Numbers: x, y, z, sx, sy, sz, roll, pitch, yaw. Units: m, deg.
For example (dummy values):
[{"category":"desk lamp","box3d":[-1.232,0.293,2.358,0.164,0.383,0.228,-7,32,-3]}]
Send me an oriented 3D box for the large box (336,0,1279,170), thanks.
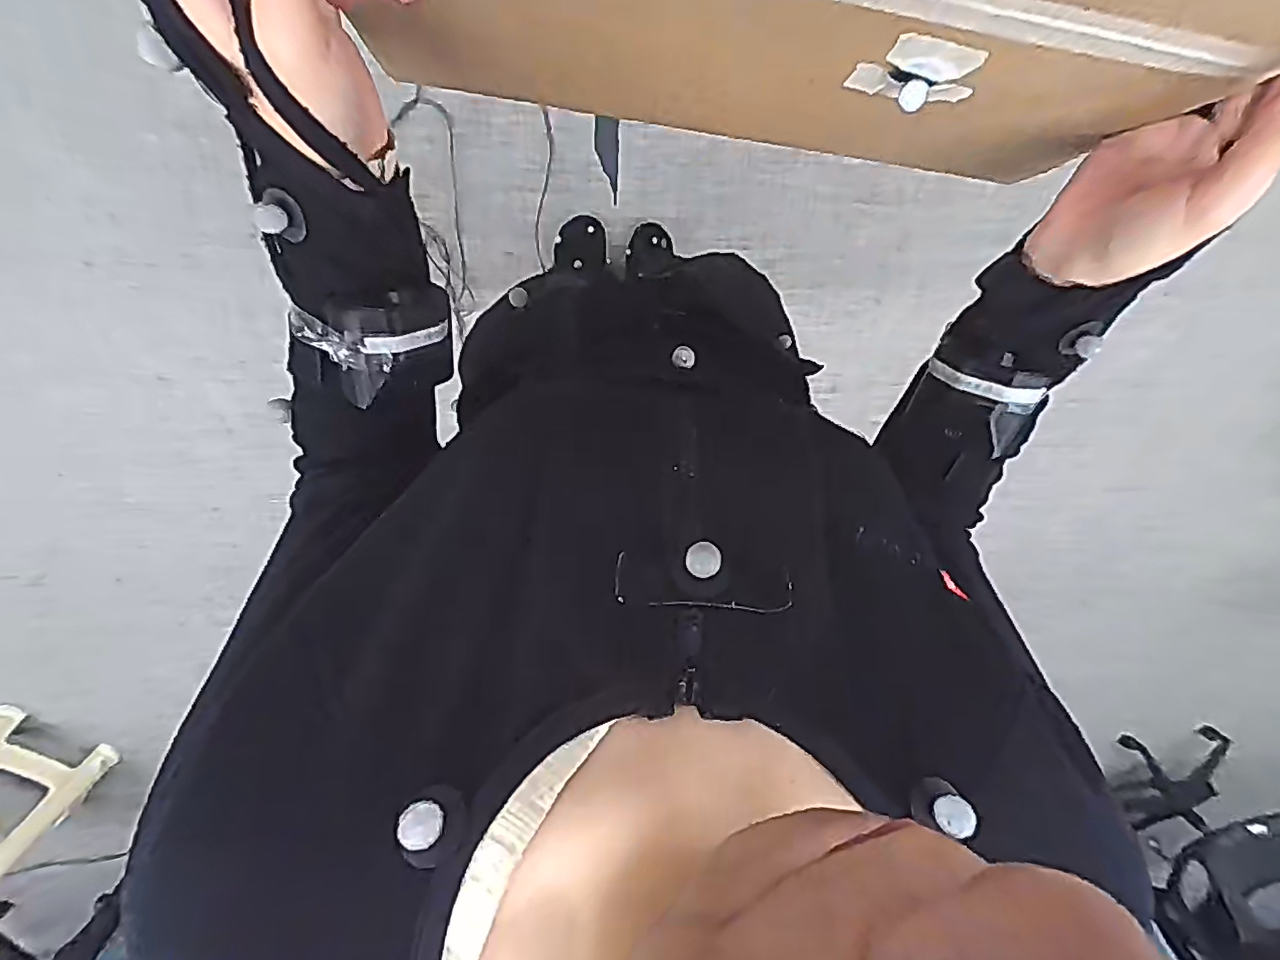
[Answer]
[{"category":"large box","box3d":[0.076,-0.340,0.170,0.408,0.320,0.320,4,103,-7]}]
